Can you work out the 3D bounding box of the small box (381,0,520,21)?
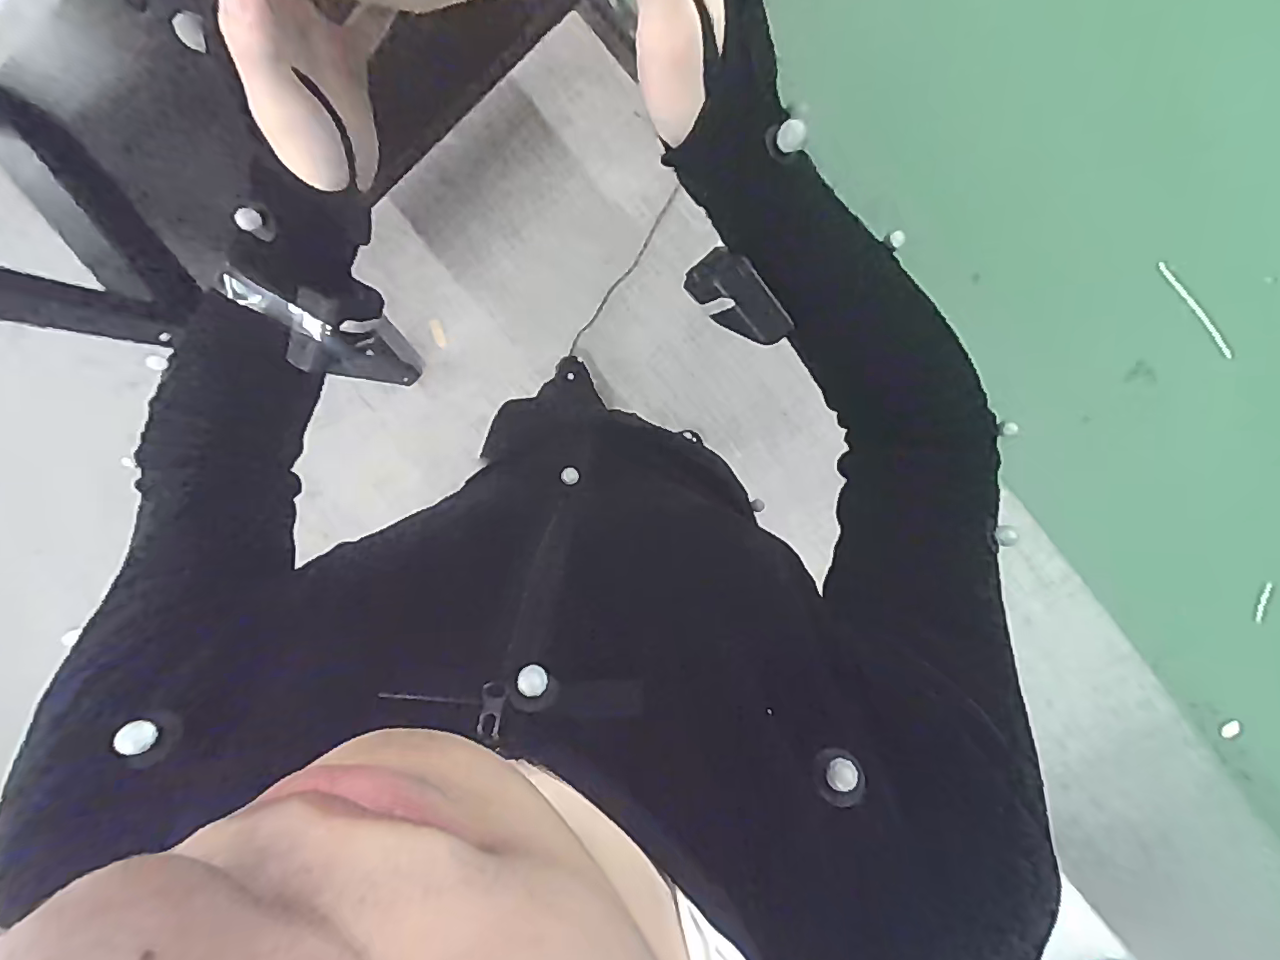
[{"bbox_3d":[-0.087,-0.328,0.225,0.168,0.176,0.179,-5,125,11],"label":"small box"}]
